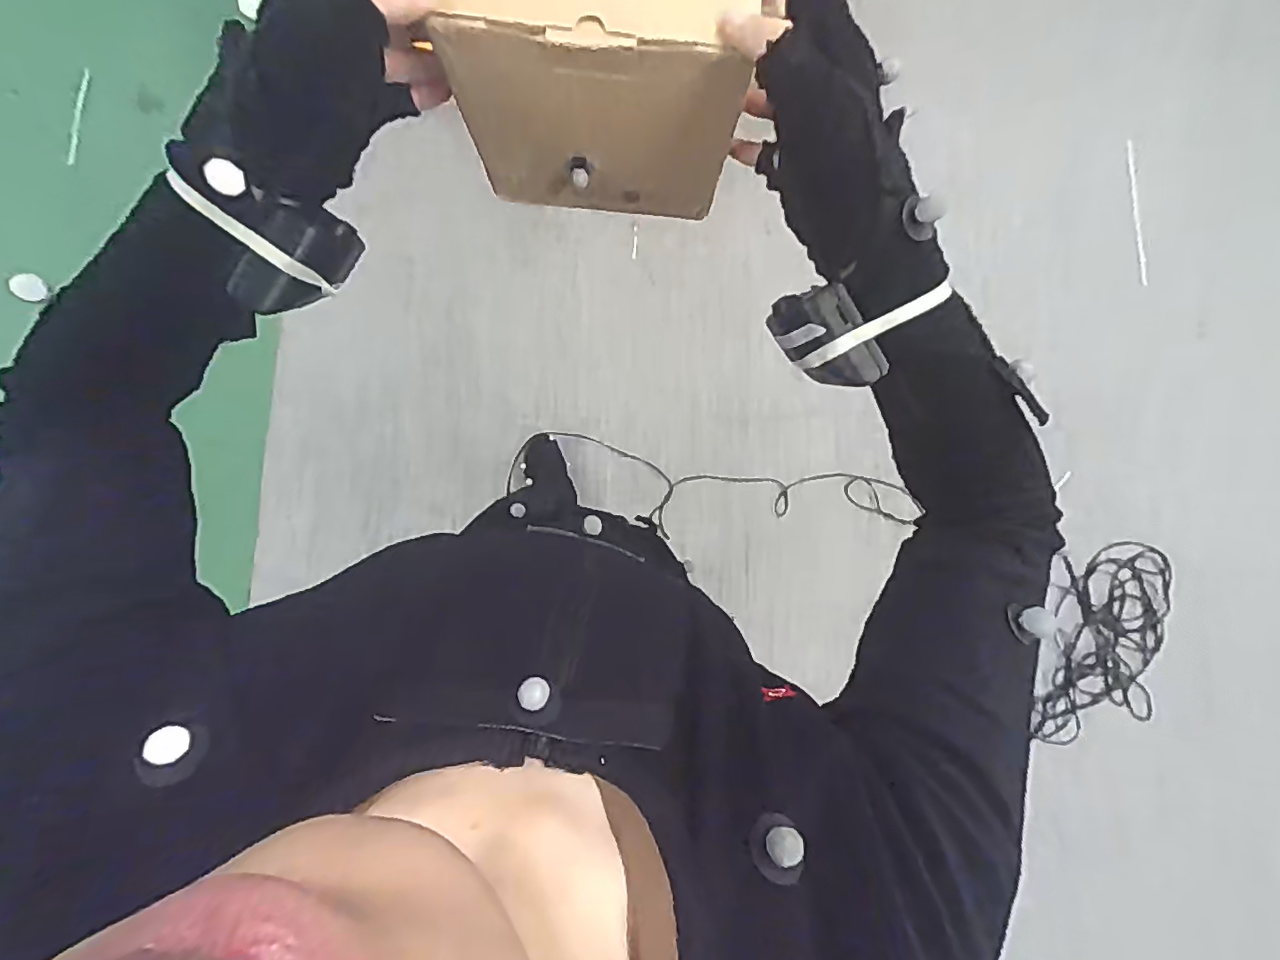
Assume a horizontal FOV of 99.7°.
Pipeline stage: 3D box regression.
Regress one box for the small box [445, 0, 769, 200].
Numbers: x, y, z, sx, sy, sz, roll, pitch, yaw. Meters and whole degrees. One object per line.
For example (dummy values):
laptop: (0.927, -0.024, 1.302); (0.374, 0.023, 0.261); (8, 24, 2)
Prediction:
small box: (-0.017, -0.311, 0.338); (0.168, 0.176, 0.179); (4, 90, -2)
